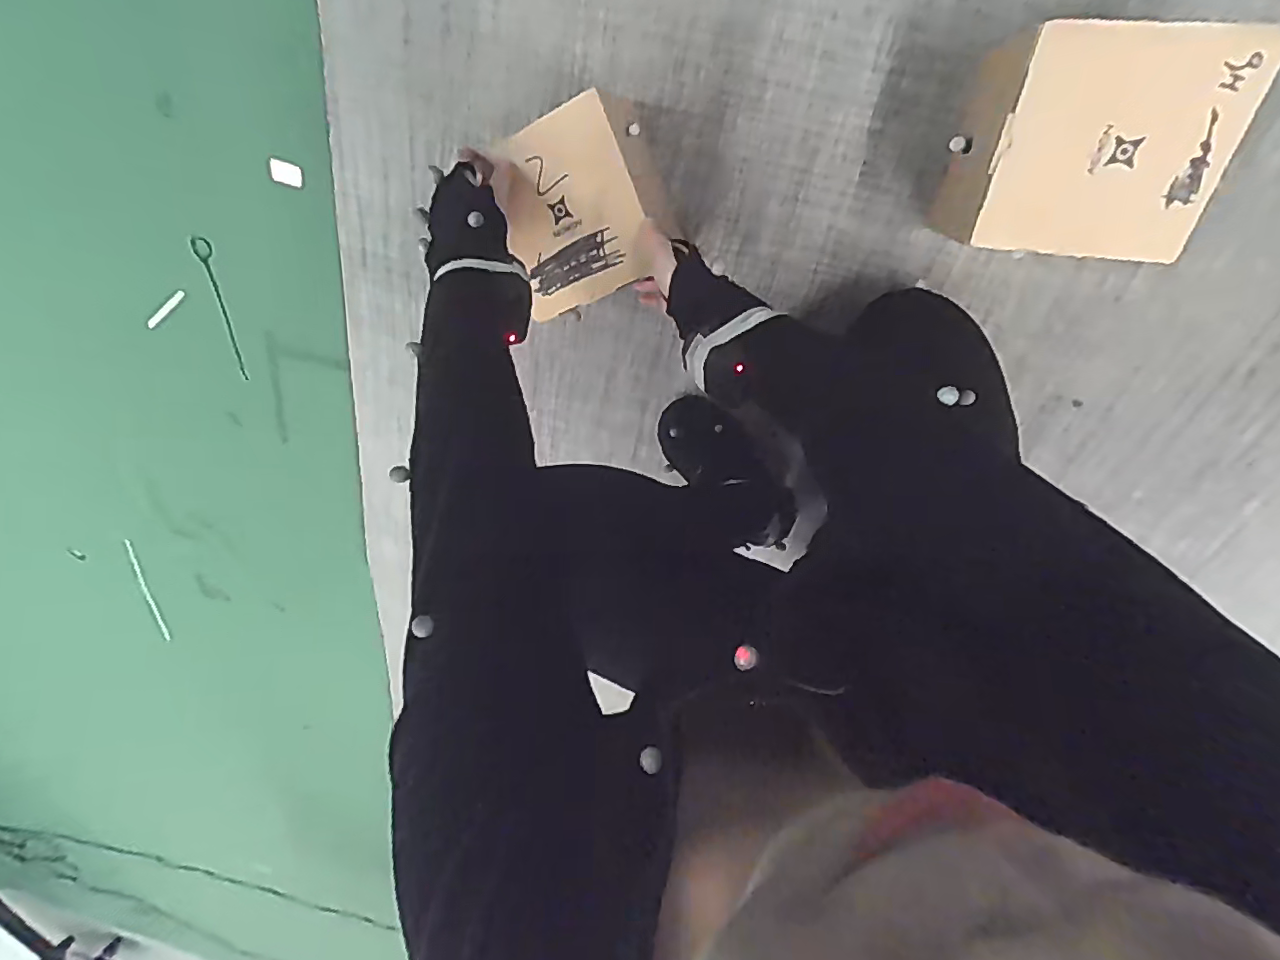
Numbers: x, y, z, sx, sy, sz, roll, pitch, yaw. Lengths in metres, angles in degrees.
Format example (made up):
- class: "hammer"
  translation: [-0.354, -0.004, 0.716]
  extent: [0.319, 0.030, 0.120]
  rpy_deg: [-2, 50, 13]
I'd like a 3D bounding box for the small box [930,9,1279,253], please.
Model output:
- class: "small box"
  translation: [0.404, -0.322, 0.515]
  extent: [0.179, 0.176, 0.168]
  rpy_deg: [9, 122, 10]
